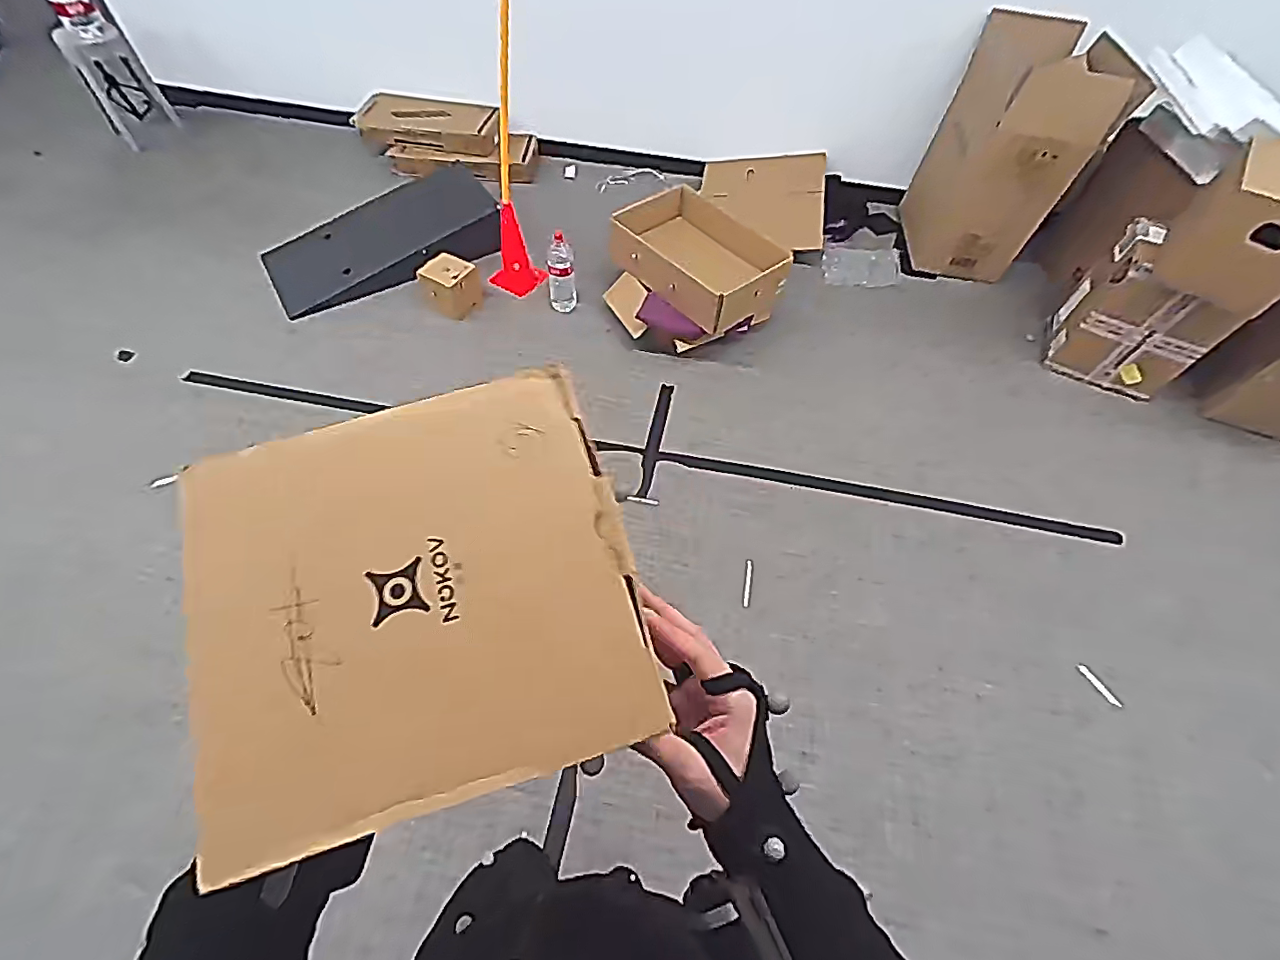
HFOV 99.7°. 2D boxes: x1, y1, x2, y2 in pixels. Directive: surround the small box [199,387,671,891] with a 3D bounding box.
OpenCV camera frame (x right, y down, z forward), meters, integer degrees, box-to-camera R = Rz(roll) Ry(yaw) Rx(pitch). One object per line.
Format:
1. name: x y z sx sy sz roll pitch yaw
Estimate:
1. small box: -0.092 0.078 0.305 0.179 0.176 0.168 -19 71 -4
